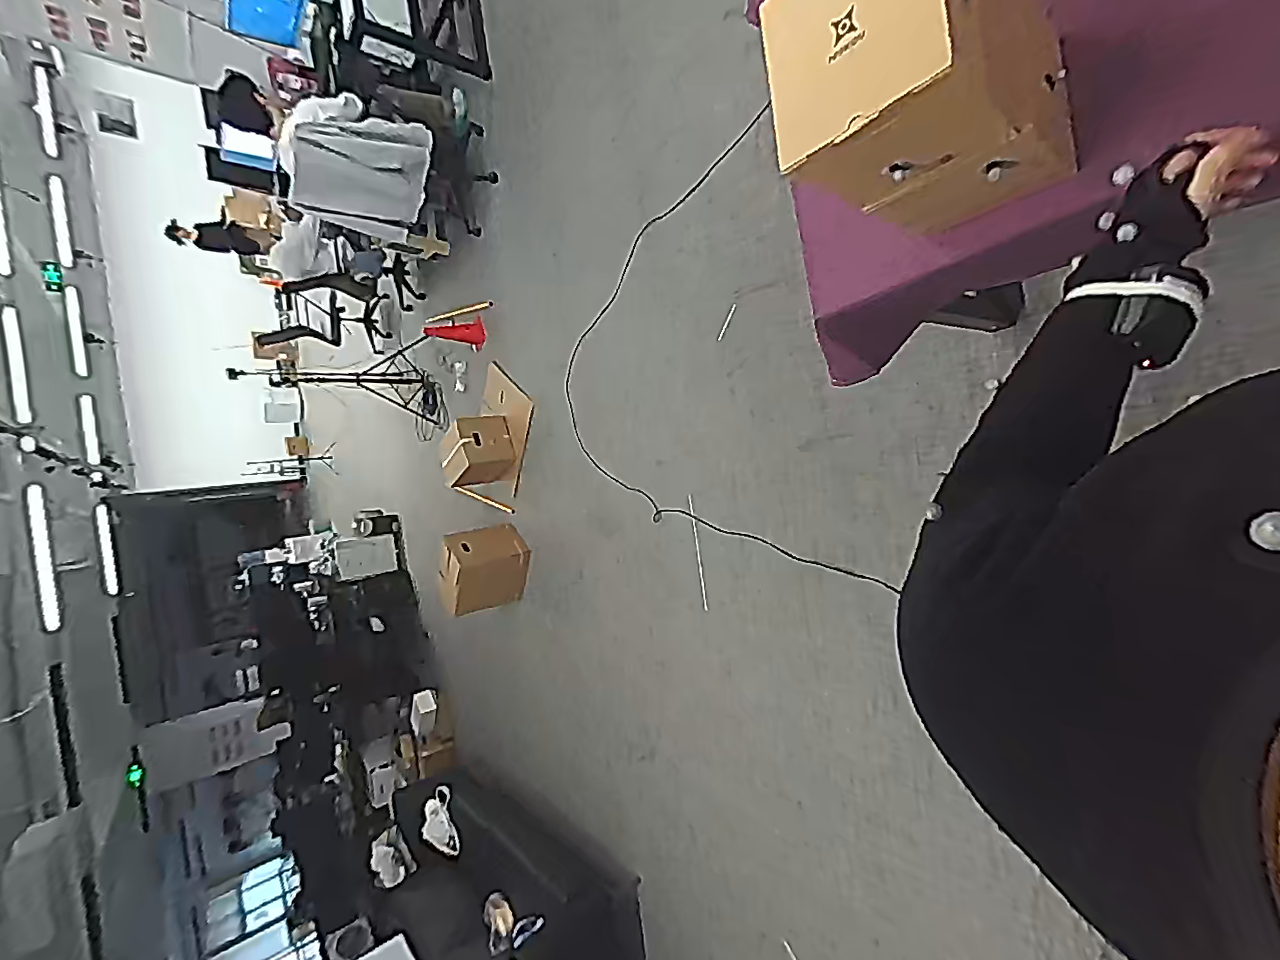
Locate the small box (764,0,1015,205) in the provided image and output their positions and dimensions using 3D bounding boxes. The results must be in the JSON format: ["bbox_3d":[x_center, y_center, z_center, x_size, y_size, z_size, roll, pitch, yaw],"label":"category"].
[{"bbox_3d":[0.251,-0.412,0.546,0.168,0.176,0.179,-7,91,51],"label":"small box"}]

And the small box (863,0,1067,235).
[{"bbox_3d":[0.381,-0.419,0.645,0.179,0.176,0.168,-8,89,52],"label":"small box"}]
